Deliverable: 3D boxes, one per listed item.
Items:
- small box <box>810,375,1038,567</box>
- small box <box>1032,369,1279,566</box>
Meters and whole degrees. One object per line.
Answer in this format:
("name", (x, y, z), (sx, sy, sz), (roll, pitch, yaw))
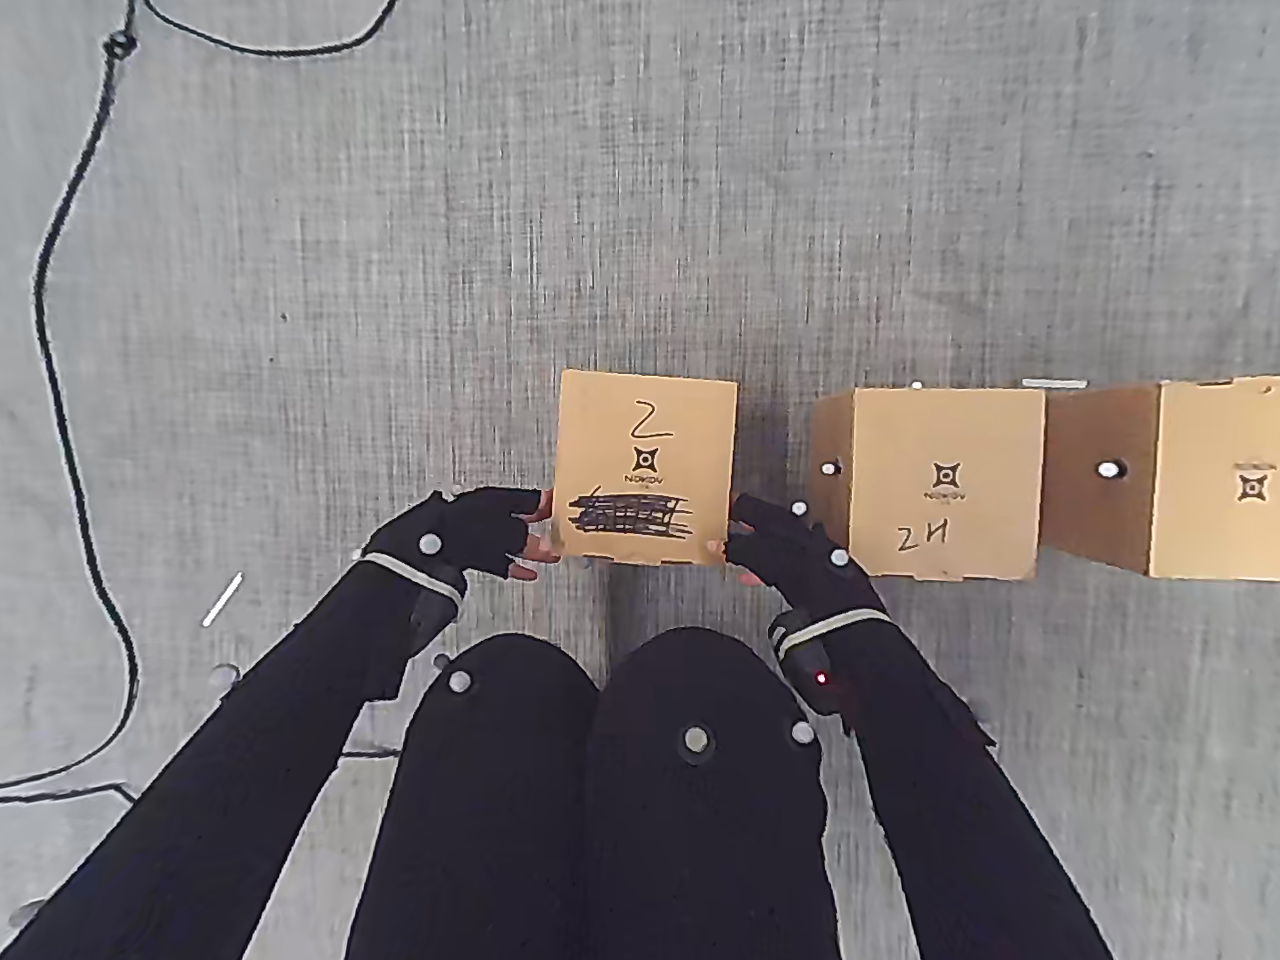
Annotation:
("small box", (0.283, -0.013, 0.576), (0.168, 0.176, 0.179), (1, 94, 6))
("small box", (0.537, -0.016, 0.557), (0.168, 0.176, 0.179), (0, 93, 5))
